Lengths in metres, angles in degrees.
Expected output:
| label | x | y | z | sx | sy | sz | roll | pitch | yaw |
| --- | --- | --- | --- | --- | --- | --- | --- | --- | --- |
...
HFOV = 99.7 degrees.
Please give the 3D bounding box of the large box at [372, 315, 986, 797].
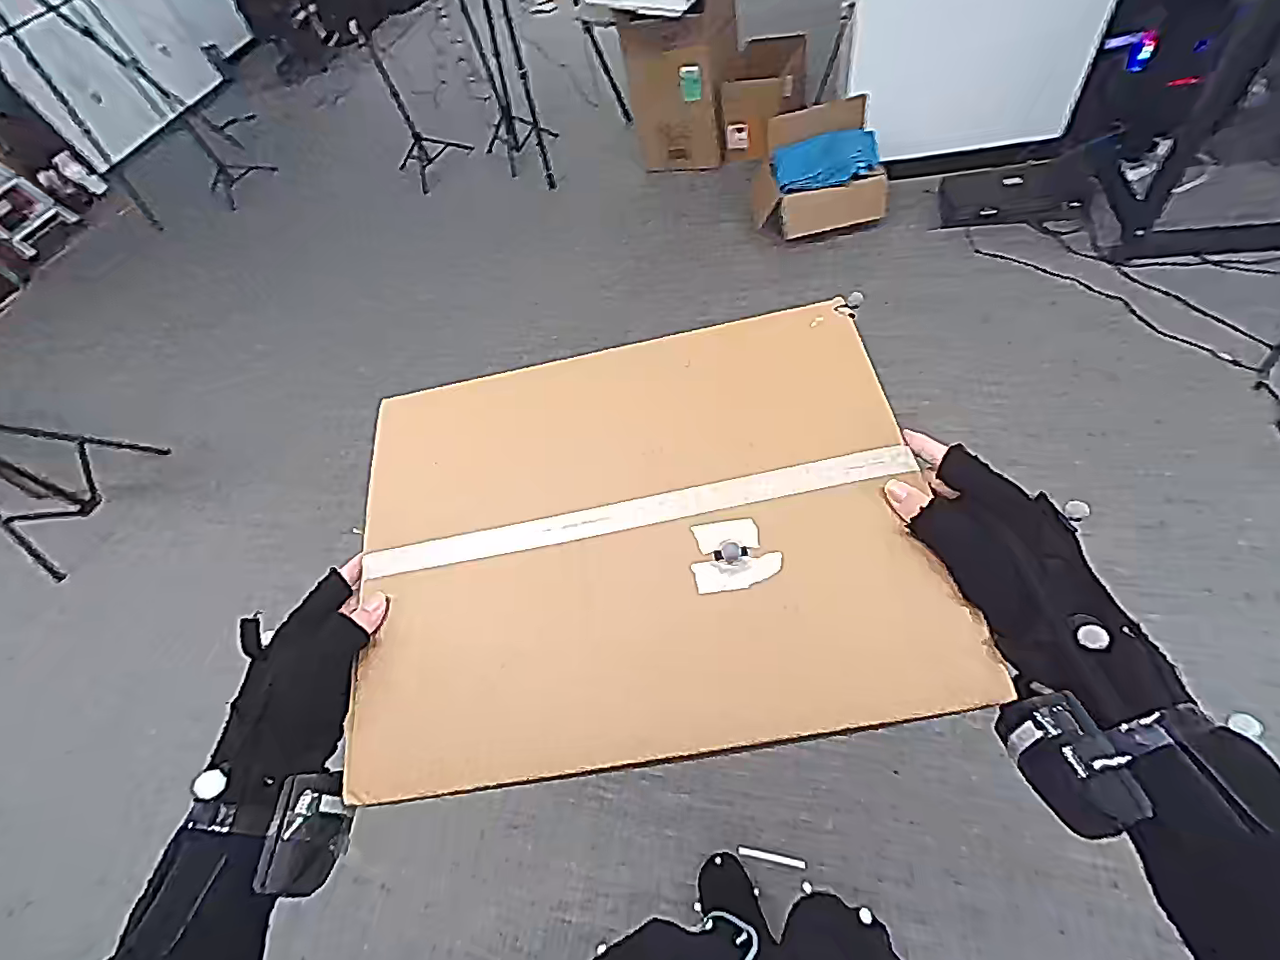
| label | x | y | z | sx | sy | sz | roll | pitch | yaw |
| --- | --- | --- | --- | --- | --- | --- | --- | --- | --- |
| large box | 0.016 | 0.097 | 0.538 | 0.408 | 0.320 | 0.320 | -12 | 63 | 4 |
